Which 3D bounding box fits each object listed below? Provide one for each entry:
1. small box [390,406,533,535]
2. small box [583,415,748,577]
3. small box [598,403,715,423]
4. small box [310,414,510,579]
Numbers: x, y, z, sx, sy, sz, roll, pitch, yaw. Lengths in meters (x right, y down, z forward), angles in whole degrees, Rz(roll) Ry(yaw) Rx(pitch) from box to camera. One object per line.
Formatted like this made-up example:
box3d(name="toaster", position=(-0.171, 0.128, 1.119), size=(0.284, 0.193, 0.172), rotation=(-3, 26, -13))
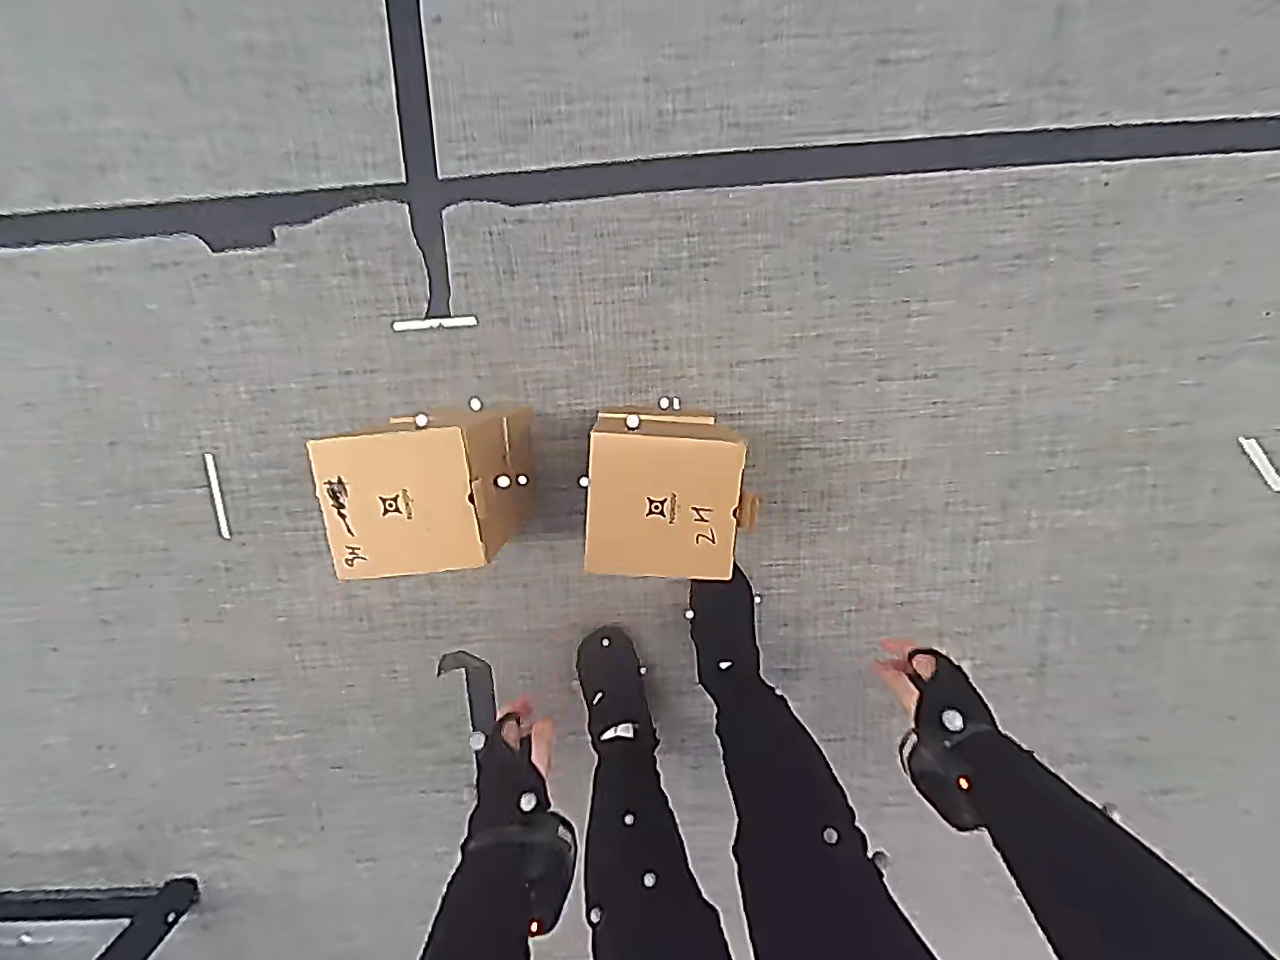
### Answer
box3d(name="small box", position=(-0.264, -0.021, 0.840), size=(0.168, 0.176, 0.179), rotation=(-1, 101, -1))
box3d(name="small box", position=(0.025, 0.011, 0.685), size=(0.179, 0.176, 0.168), rotation=(4, 103, -3))
box3d(name="small box", position=(0.019, -0.024, 0.845), size=(0.168, 0.176, 0.179), rotation=(2, 101, -2))
box3d(name="small box", position=(-0.267, 0.010, 0.678), size=(0.179, 0.176, 0.168), rotation=(-5, 101, 0))
